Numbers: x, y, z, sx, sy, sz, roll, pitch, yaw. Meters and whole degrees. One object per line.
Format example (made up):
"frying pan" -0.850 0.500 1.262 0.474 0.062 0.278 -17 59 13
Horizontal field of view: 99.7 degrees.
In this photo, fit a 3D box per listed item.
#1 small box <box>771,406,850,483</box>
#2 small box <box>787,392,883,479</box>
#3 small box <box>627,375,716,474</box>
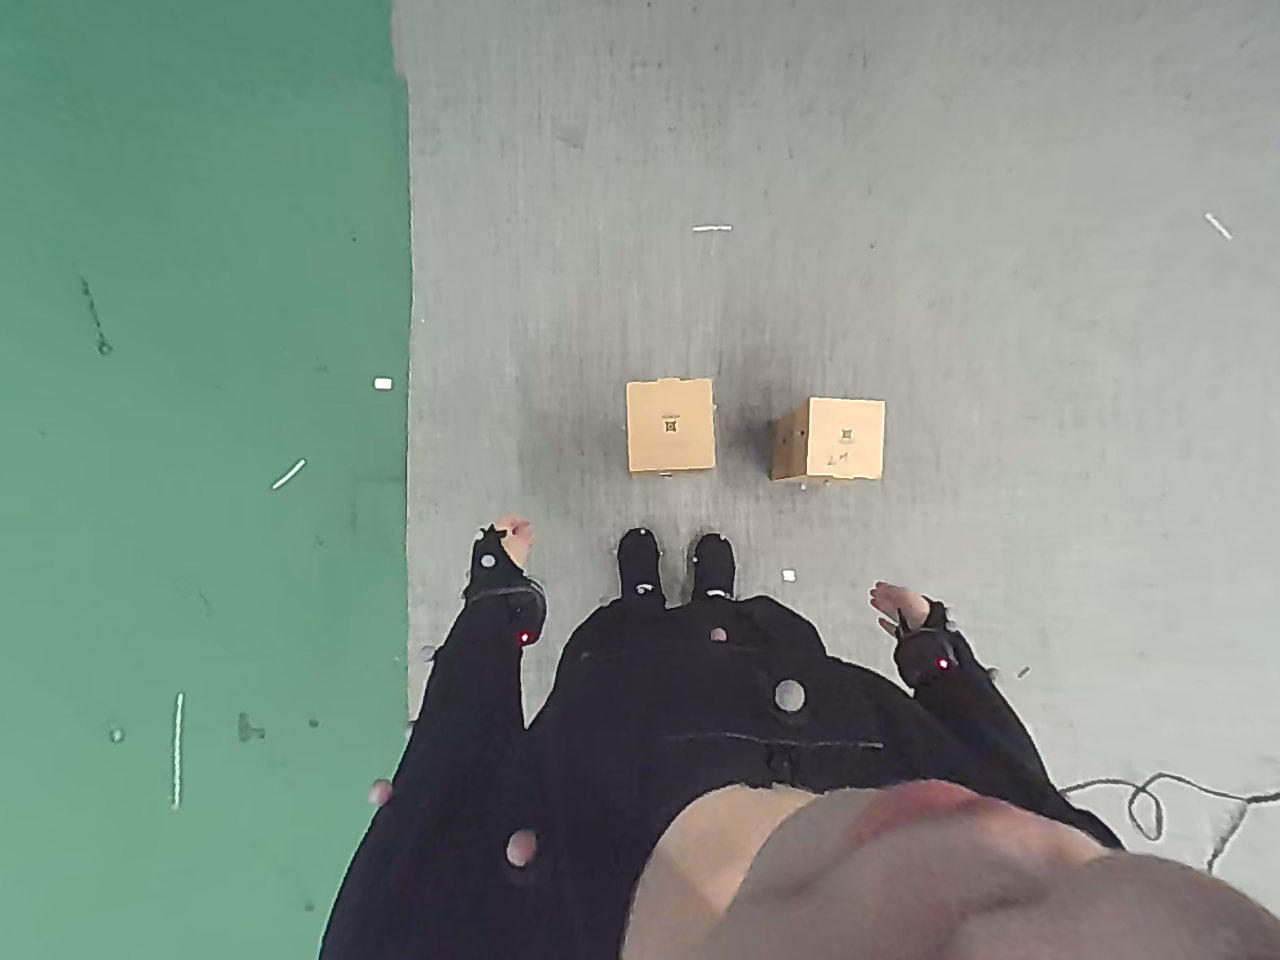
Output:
"small box" 0.448 -0.088 1.426 0.168 0.176 0.179 5 89 1
"small box" 0.447 -0.098 1.261 0.168 0.176 0.179 3 88 2
"small box" 0.061 -0.107 1.105 0.168 0.176 0.179 -3 88 3
